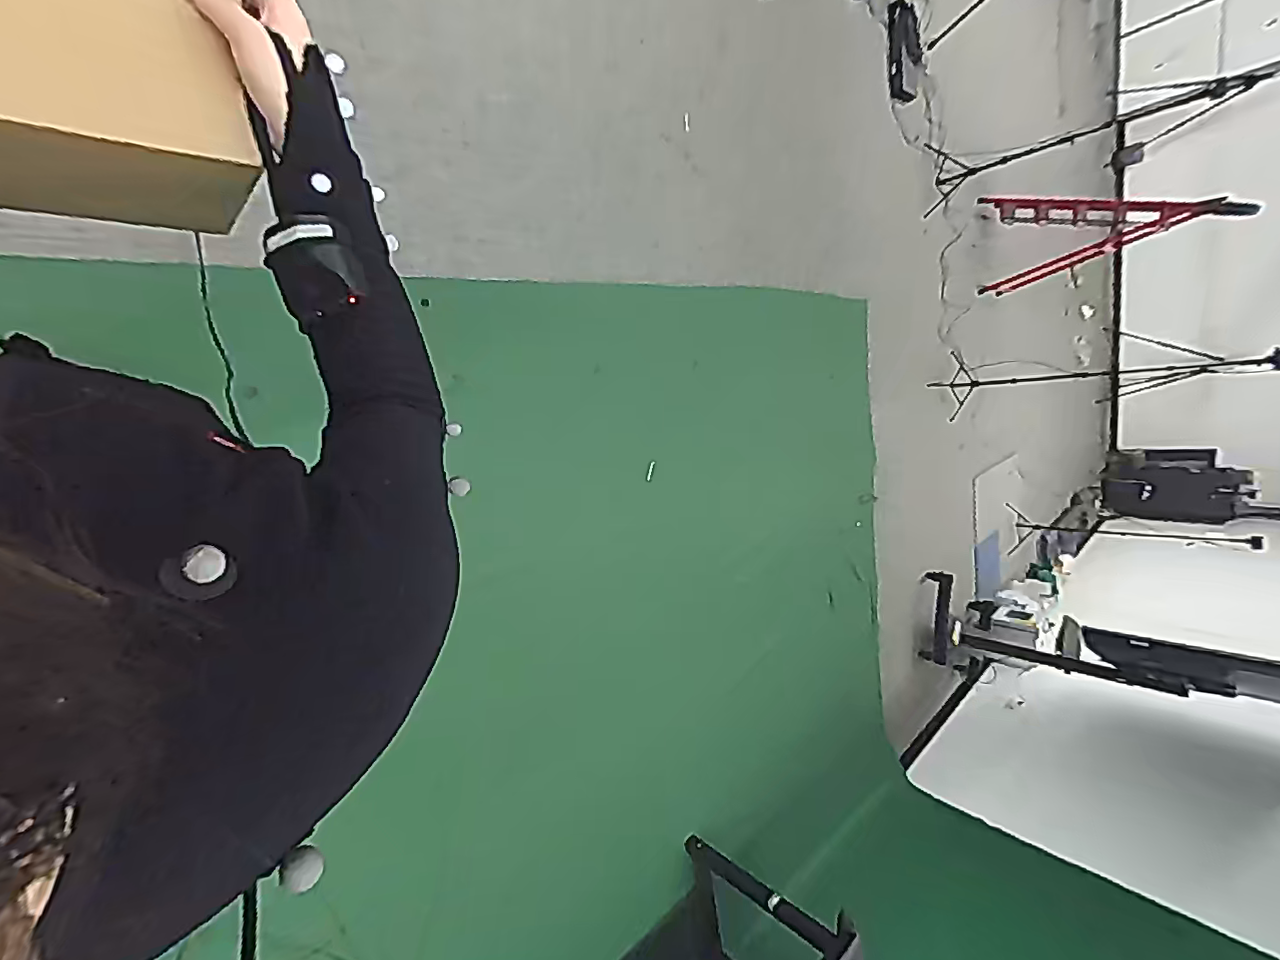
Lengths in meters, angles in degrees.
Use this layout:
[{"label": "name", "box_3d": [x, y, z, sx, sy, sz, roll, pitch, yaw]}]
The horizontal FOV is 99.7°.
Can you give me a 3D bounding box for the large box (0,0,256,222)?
[{"label": "large box", "box_3d": [-0.538, -0.383, 0.365, 0.408, 0.320, 0.320, -10, 107, -38]}]
